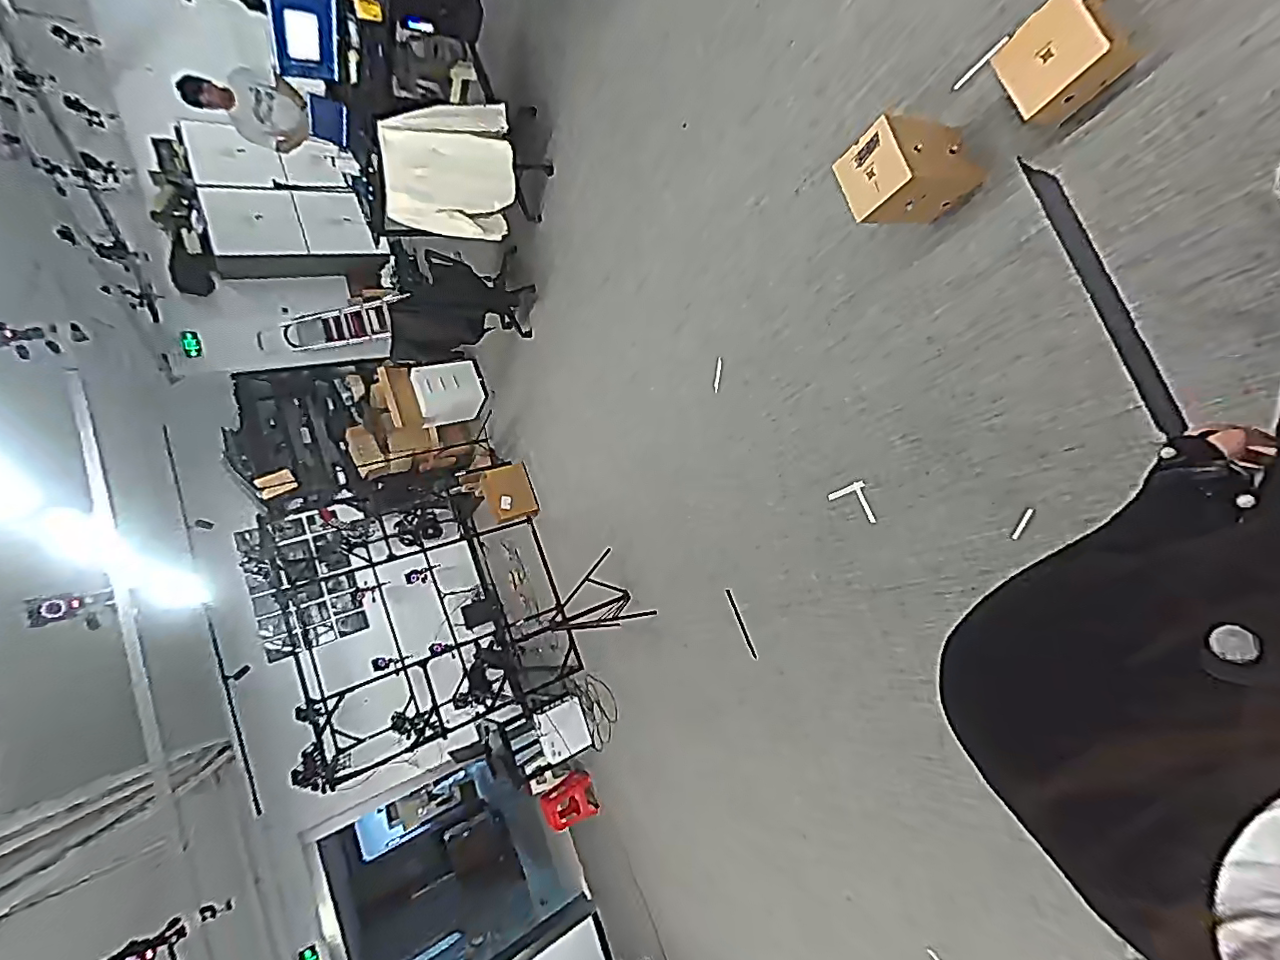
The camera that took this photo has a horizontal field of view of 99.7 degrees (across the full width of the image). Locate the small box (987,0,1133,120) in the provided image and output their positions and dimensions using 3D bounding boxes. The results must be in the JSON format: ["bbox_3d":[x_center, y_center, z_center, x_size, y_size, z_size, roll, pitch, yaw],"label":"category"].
[{"bbox_3d":[0.913,-0.920,1.175,0.168,0.176,0.179,-37,72,57],"label":"small box"}]

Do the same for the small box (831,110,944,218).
[{"bbox_3d":[0.626,-0.788,1.369,0.168,0.176,0.179,-30,78,58],"label":"small box"}]
